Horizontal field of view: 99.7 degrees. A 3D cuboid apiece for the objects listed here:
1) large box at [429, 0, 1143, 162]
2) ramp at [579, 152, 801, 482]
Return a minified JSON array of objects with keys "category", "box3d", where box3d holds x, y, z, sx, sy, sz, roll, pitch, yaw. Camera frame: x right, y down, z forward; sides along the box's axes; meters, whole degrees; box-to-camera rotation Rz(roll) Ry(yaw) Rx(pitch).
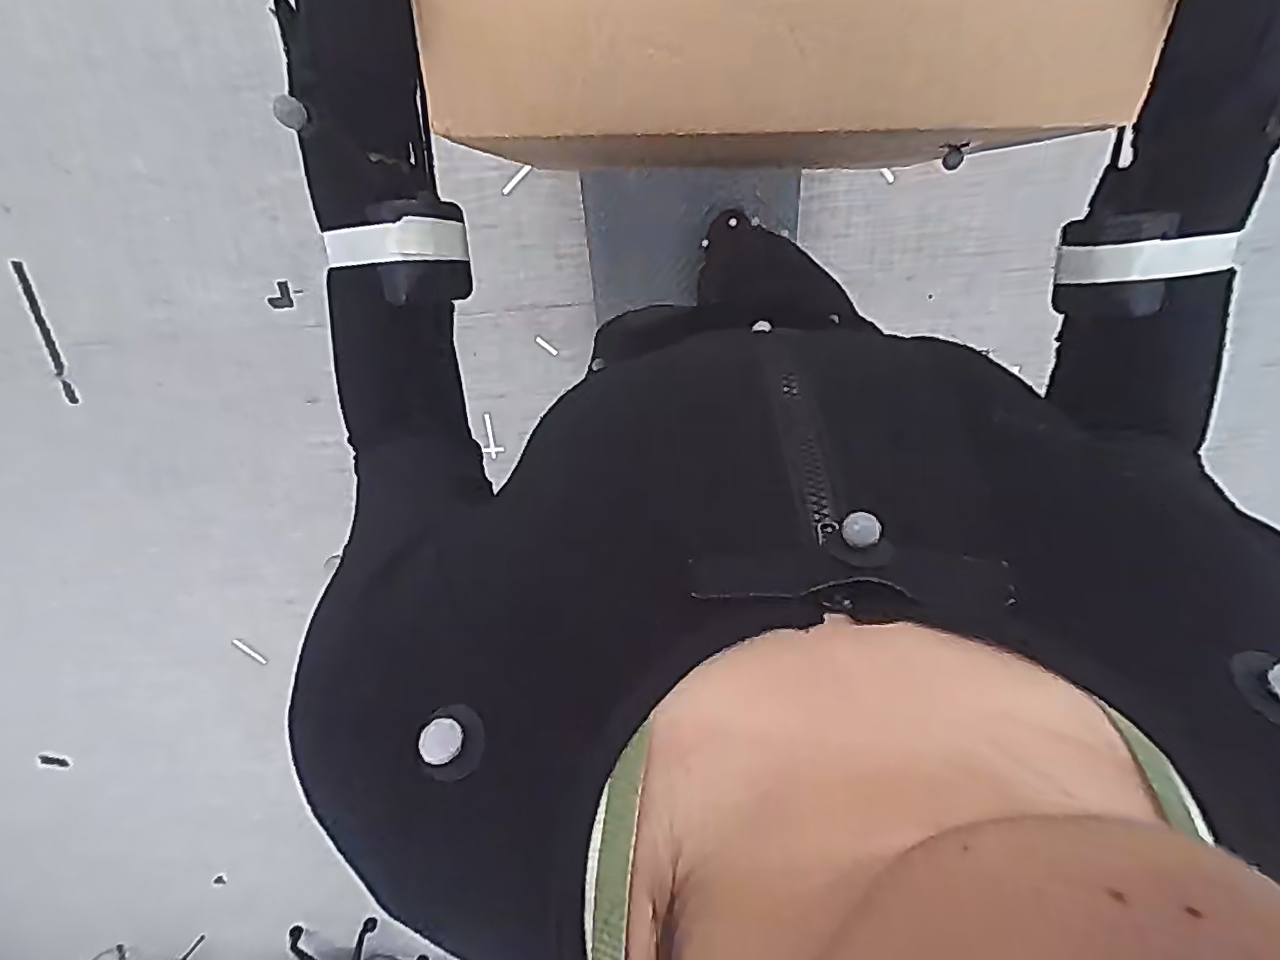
[{"category":"large box","box3d":[0.082,-0.418,0.388,0.408,0.320,0.320,0,117,2]},{"category":"ramp","box3d":[0.134,-0.427,1.366,0.509,0.206,0.991,-4,112,4]}]
